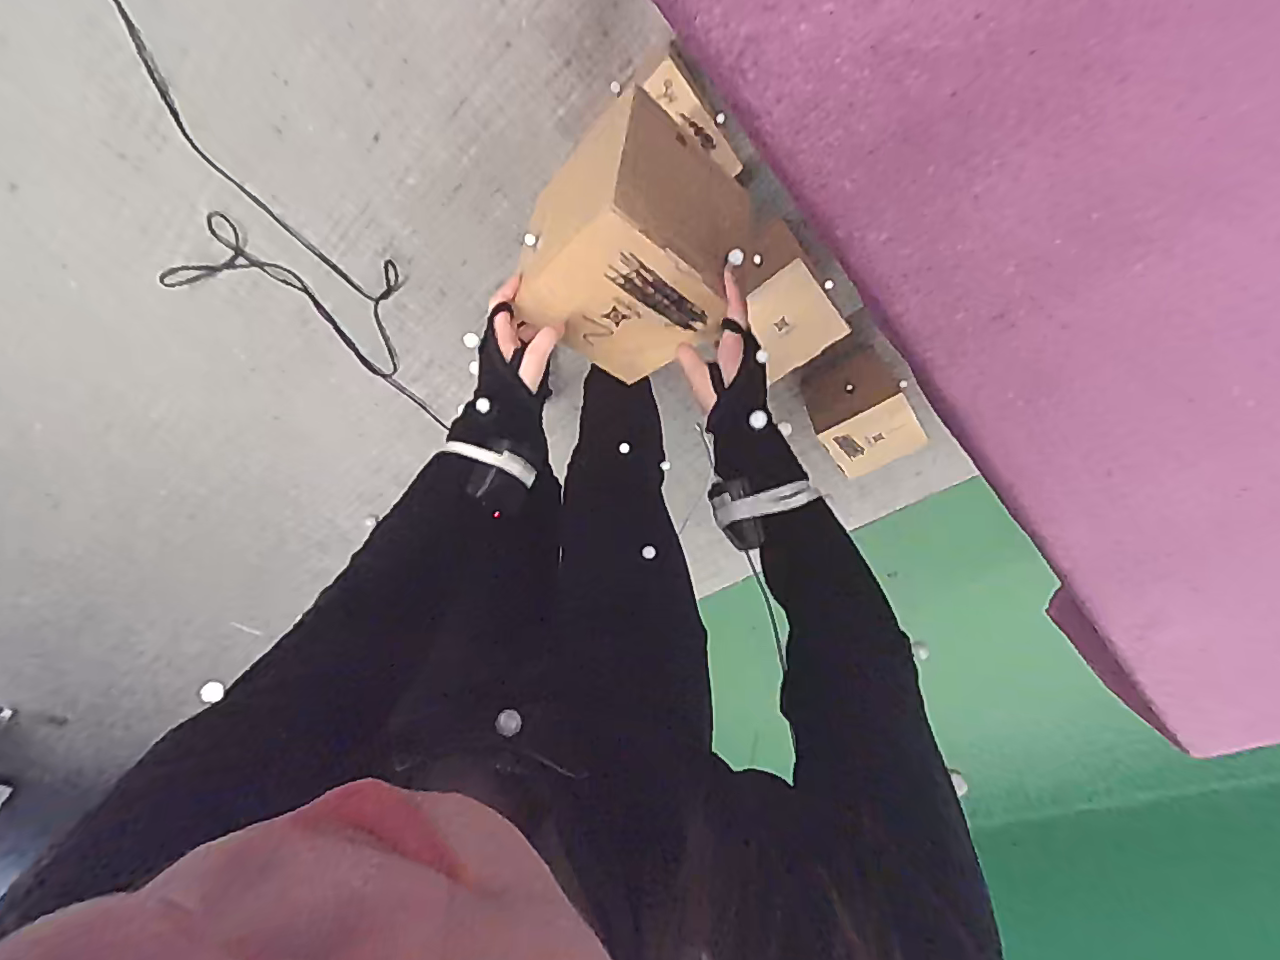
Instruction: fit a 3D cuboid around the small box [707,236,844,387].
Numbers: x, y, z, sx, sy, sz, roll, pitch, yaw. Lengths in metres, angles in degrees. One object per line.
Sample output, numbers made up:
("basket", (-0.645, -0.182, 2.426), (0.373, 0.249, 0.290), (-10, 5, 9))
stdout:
("small box", (0.236, -0.311, 0.979), (0.168, 0.176, 0.179), (-32, 126, 29))
